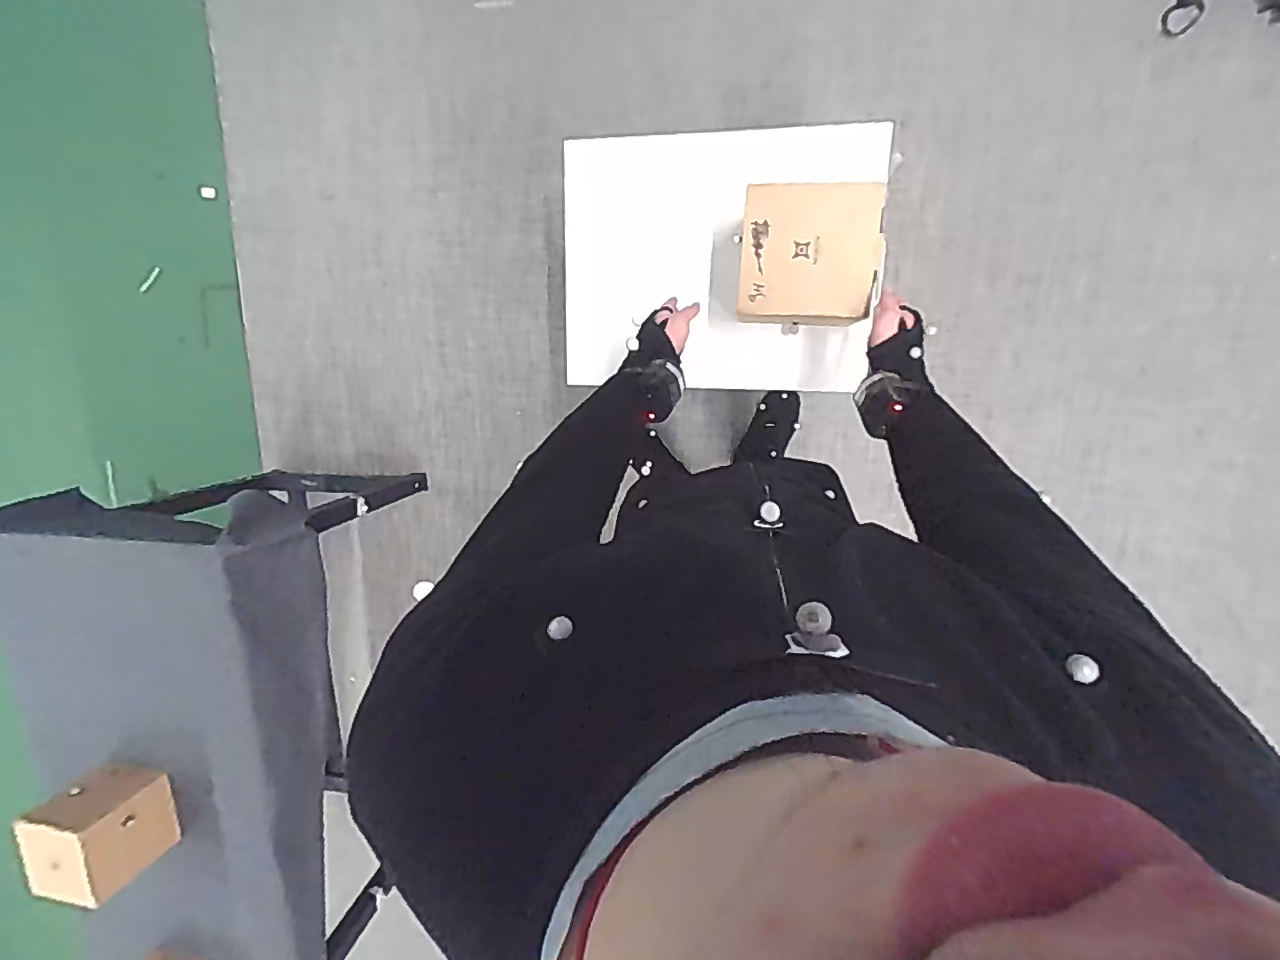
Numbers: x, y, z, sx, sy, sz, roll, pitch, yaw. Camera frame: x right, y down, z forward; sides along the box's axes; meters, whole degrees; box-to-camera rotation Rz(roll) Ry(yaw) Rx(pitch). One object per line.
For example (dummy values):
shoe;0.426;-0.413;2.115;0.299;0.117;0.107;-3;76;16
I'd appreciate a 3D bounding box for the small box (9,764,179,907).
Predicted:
small box;-1.114;0.723;1.118;0.168;0.176;0.179;2;105;11

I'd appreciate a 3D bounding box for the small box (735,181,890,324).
small box;0.234;-0.316;0.779;0.179;0.176;0.168;5;104;8
